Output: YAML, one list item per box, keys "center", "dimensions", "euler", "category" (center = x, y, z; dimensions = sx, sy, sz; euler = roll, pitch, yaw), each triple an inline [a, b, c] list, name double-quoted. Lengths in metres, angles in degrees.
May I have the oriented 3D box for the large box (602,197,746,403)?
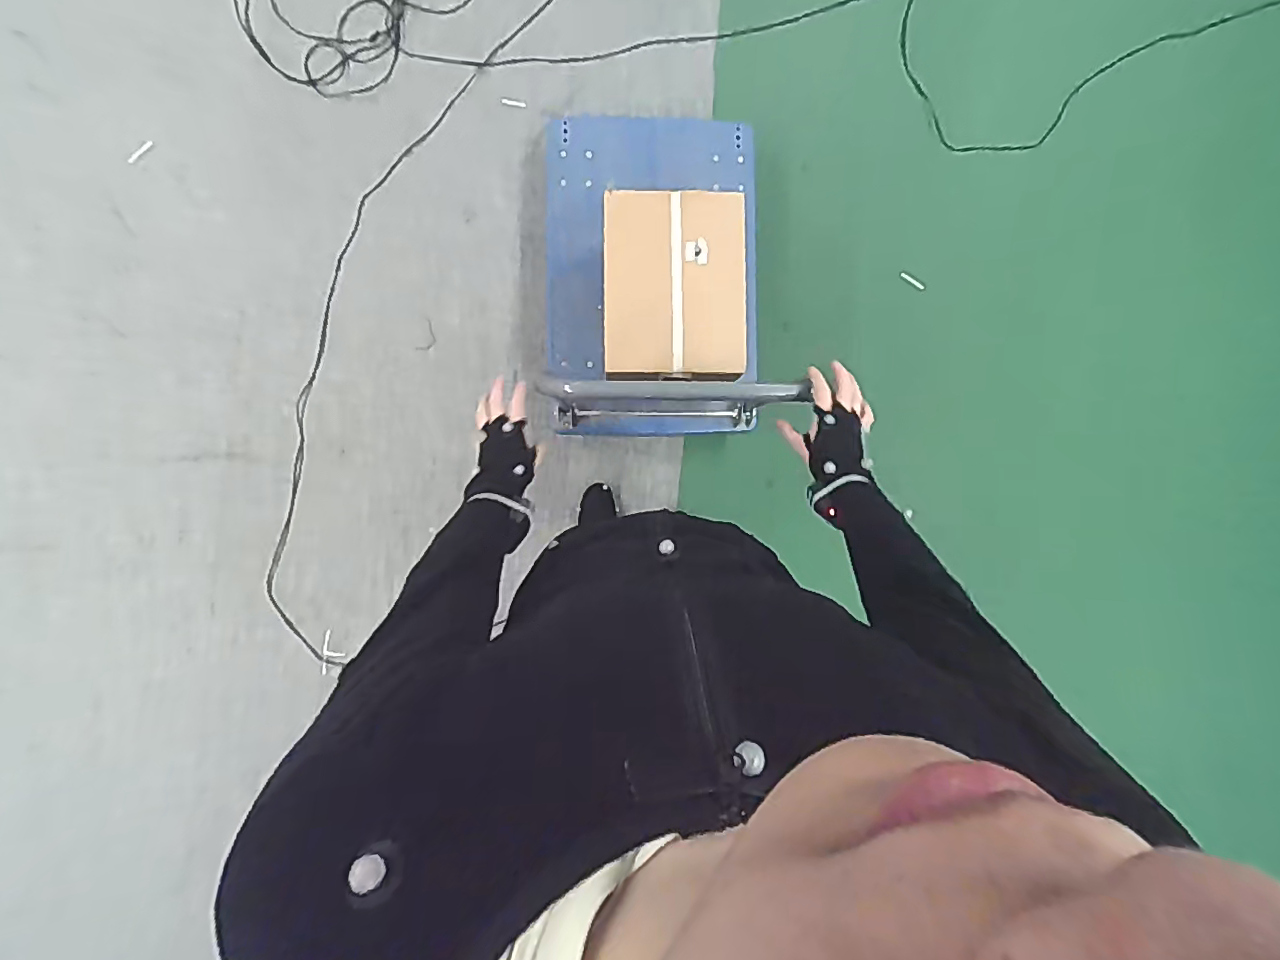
- center: [0.068, -0.418, 1.334]
  dimensions: [0.320, 0.320, 0.408]
  euler: [-1, 87, -4]
  category: "large box"
